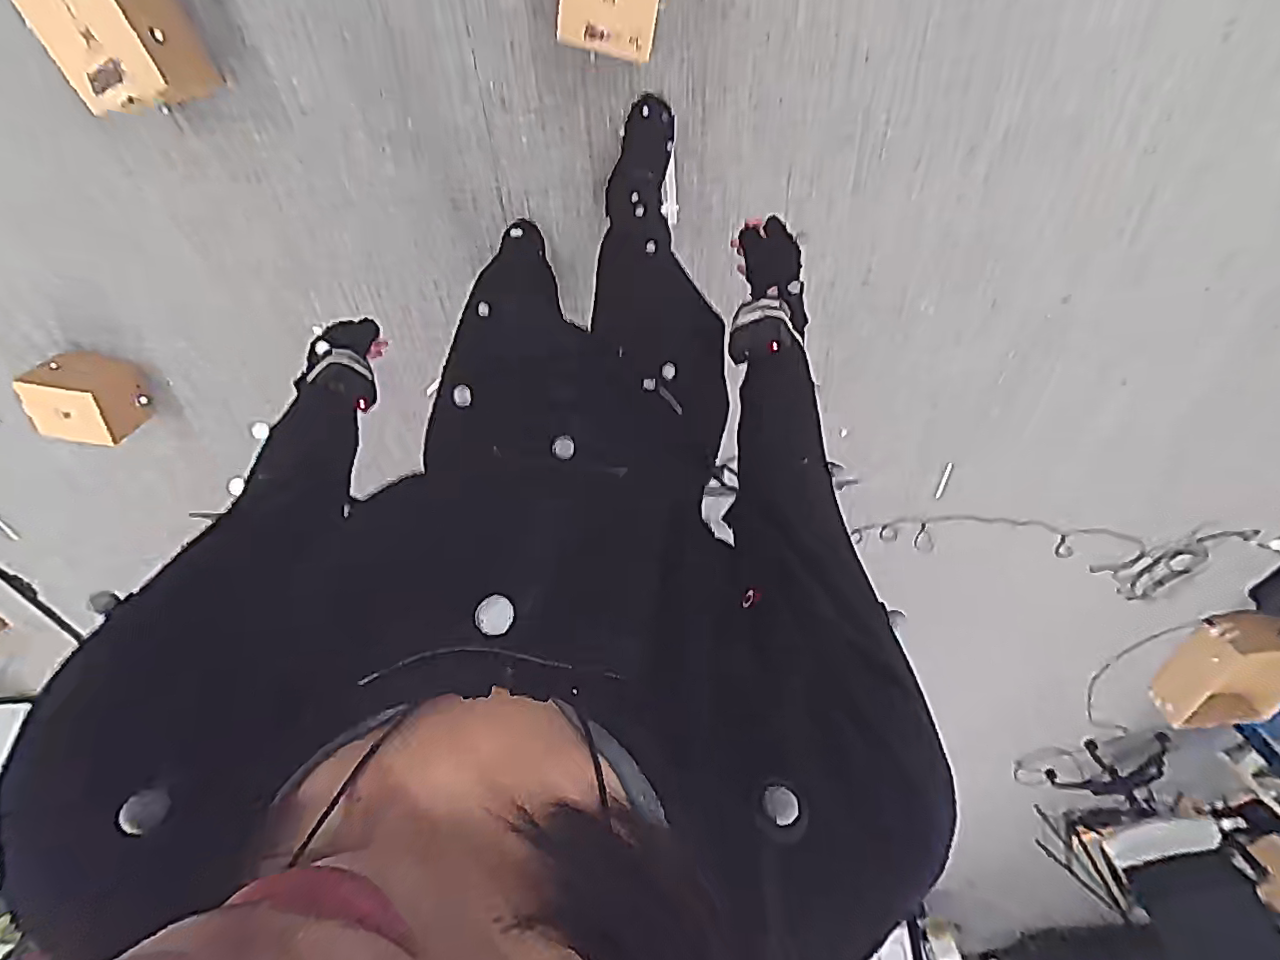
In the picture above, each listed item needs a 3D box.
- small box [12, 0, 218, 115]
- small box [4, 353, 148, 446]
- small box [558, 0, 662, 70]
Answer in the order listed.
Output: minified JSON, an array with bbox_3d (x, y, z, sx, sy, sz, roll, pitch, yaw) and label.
[{"bbox_3d":[-0.931,-0.794,0.981,0.168,0.176,0.179,-12,127,7],"label":"small box"},{"bbox_3d":[-1.455,-0.215,1.411,0.179,0.176,0.168,9,128,-10],"label":"small box"},{"bbox_3d":[-0.049,-0.860,0.963,0.168,0.176,0.179,9,127,-9],"label":"small box"}]
